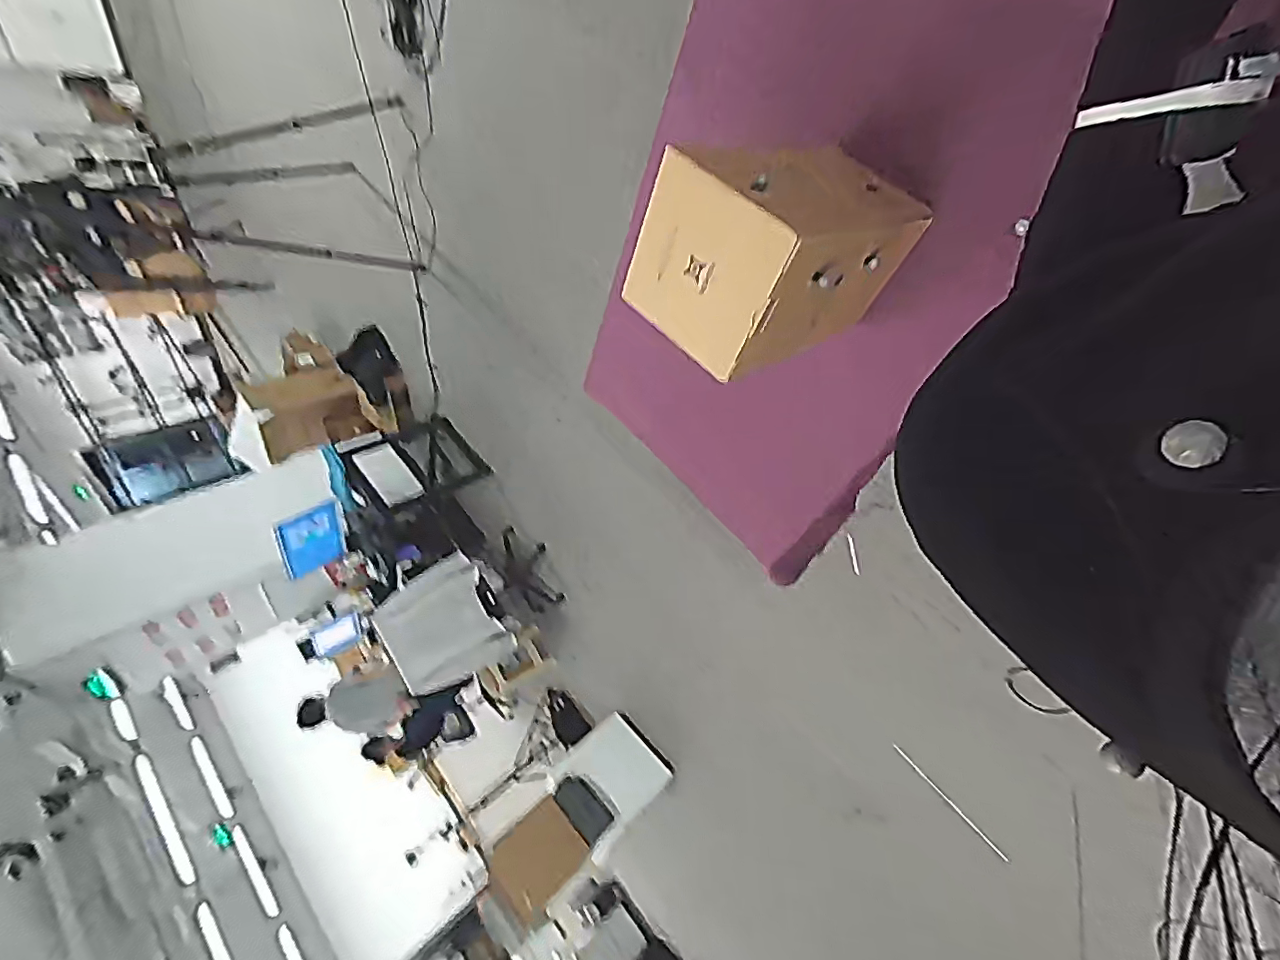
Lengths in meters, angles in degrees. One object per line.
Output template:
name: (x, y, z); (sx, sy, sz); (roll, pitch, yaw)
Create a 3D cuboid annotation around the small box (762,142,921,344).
small box: (0.227, -0.310, 0.708); (0.168, 0.176, 0.179); (47, 139, 19)

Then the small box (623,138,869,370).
small box: (0.115, -0.255, 0.603); (0.179, 0.176, 0.168); (47, 138, 20)
